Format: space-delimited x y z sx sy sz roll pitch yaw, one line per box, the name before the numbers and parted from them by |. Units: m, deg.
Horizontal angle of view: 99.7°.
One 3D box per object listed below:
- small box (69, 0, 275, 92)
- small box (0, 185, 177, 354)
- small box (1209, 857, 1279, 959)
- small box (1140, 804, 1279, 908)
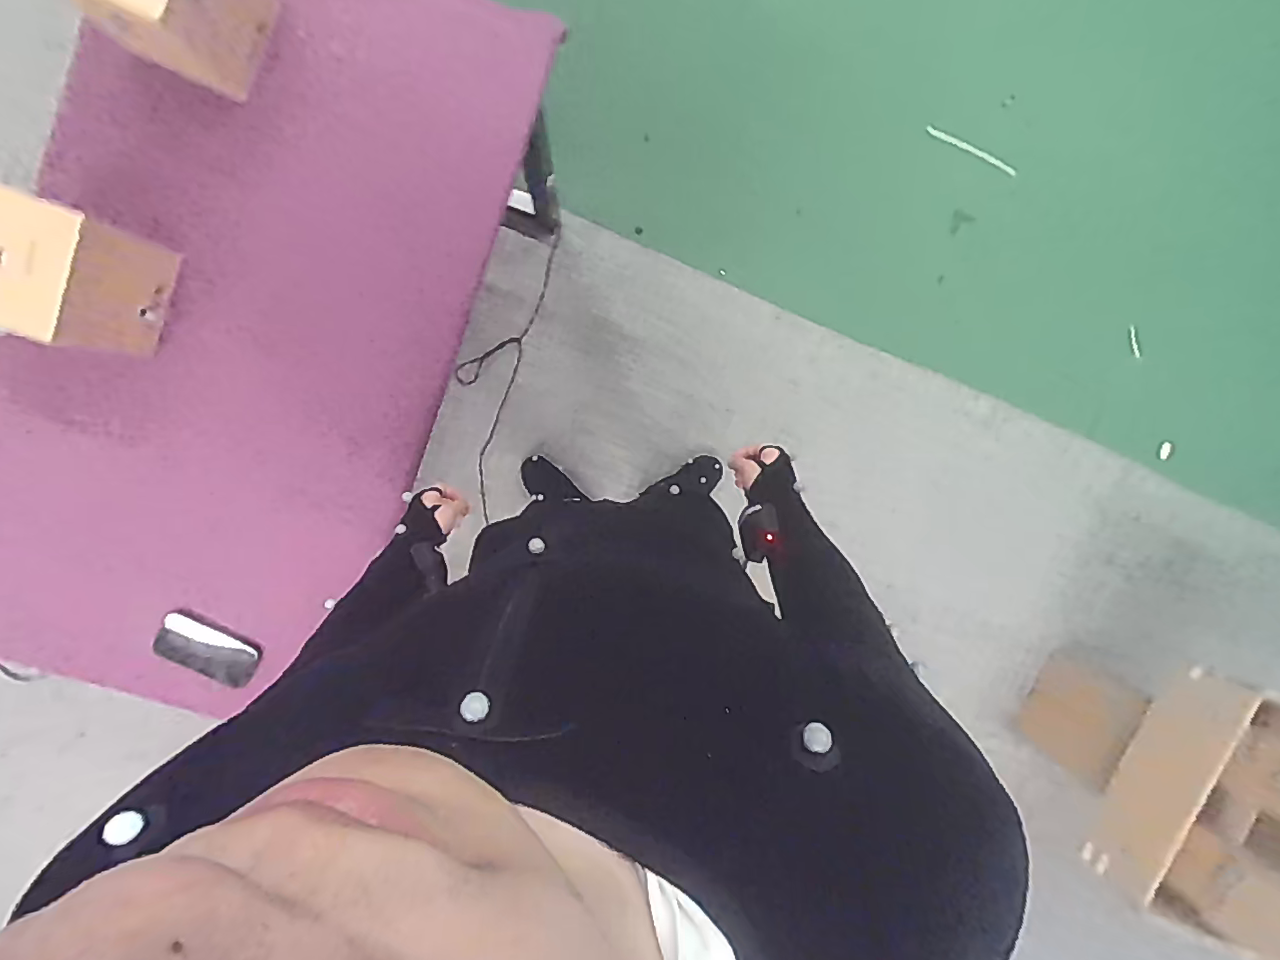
small box | -0.629 -0.657 0.700 0.179 0.176 0.168 22 94 -7
small box | -0.789 -0.278 0.723 0.179 0.176 0.168 19 94 -8
small box | 1.437 0.979 1.190 0.179 0.176 0.168 22 94 -6
small box | 1.433 0.959 1.354 0.179 0.176 0.168 27 93 -6
